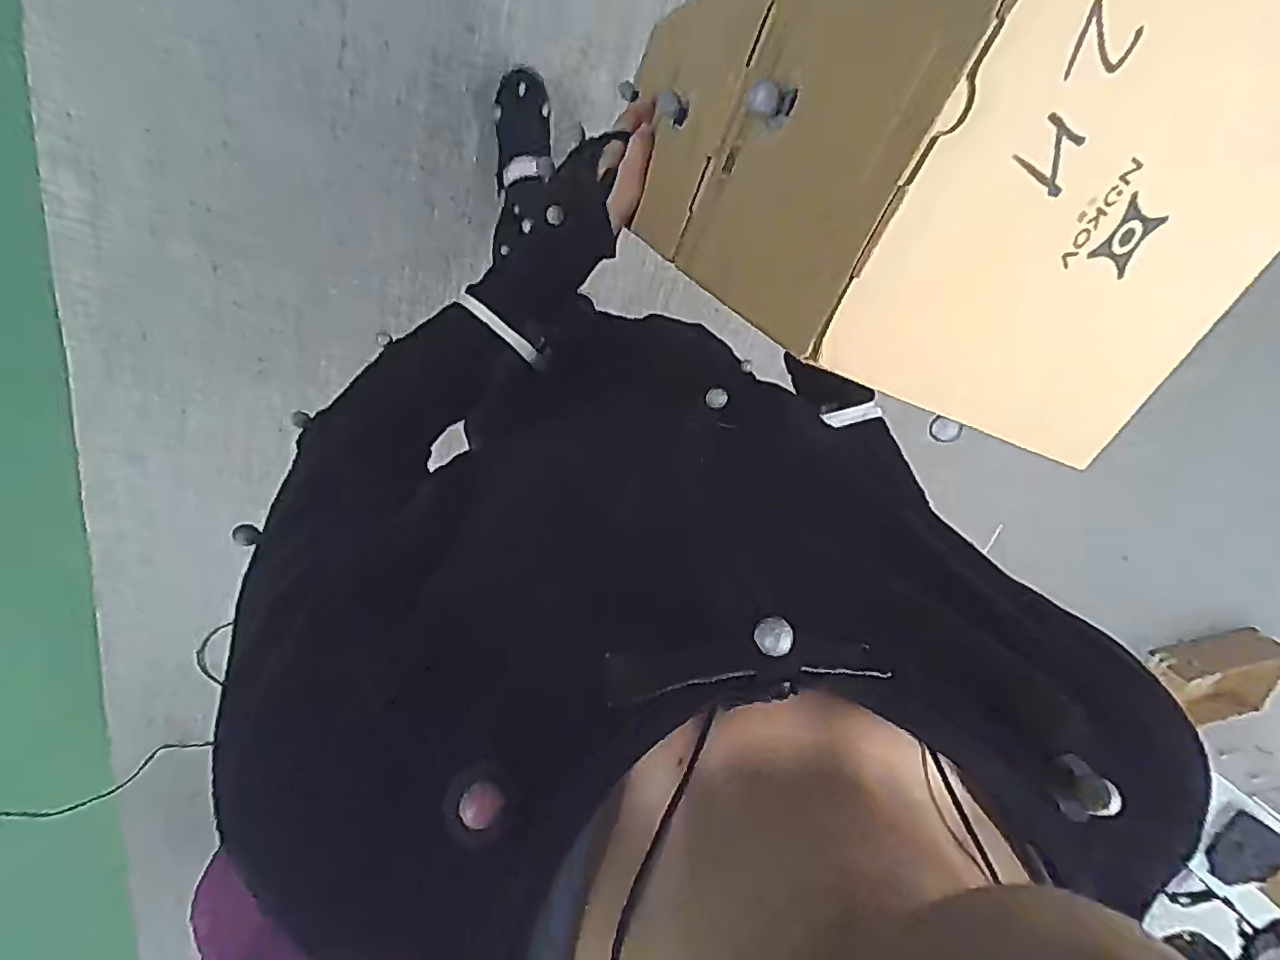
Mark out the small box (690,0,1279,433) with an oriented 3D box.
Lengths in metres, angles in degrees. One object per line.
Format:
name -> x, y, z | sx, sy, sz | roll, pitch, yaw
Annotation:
small box -> 0.150, -0.149, 0.254 | 0.179, 0.176, 0.168 | 14, 117, -22

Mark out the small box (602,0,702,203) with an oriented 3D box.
small box -> 0.079, -0.331, 0.519 | 0.179, 0.176, 0.168 | 14, 118, -21

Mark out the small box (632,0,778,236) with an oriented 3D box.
small box -> 0.110, -0.240, 0.385 | 0.179, 0.176, 0.168 | 14, 118, -22
